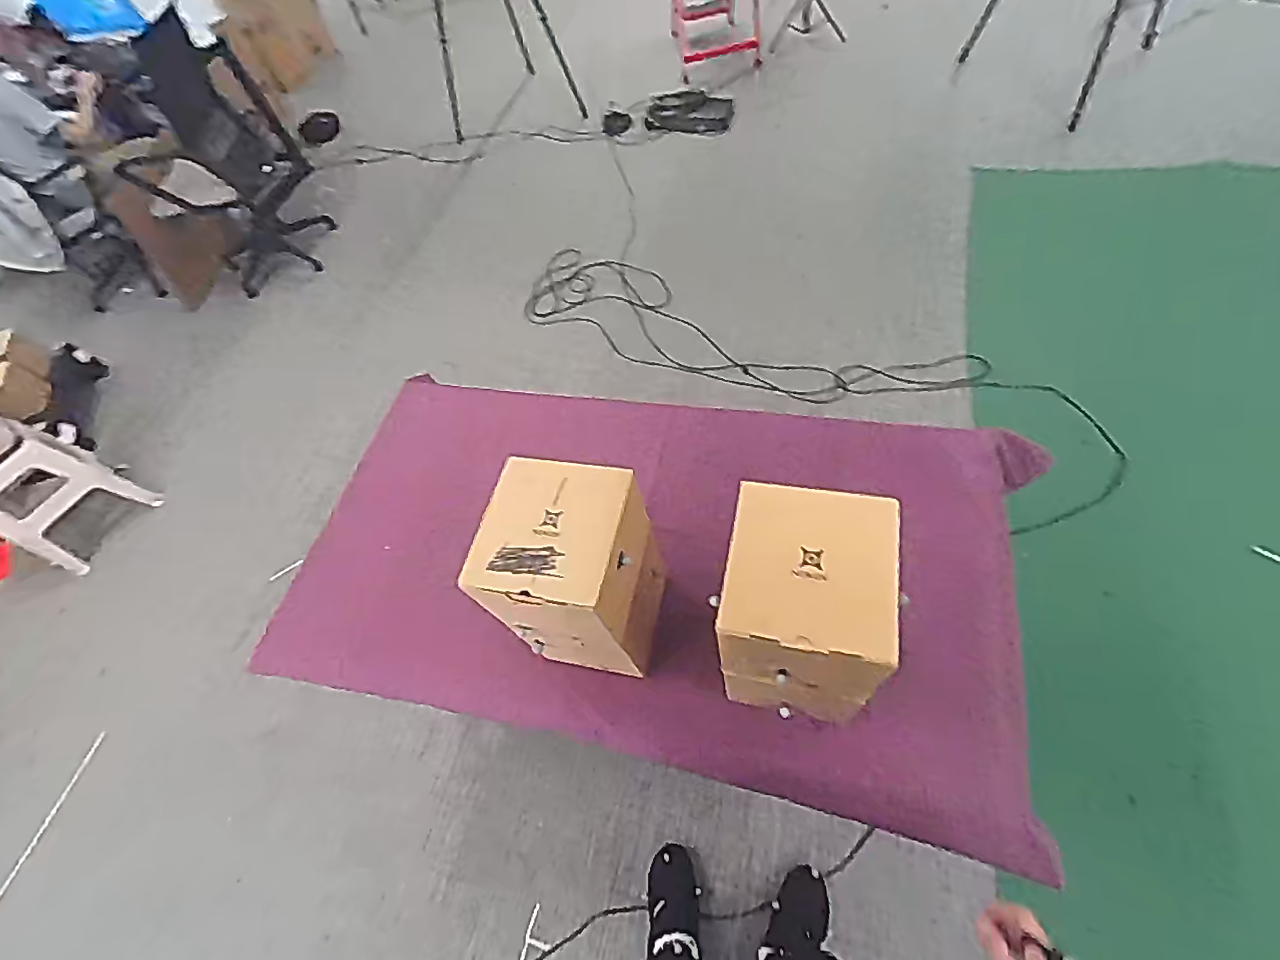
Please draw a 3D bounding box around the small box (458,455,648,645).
[{"bbox_3d":[-0.093,0.093,0.685,0.168,0.176,0.179,8,59,15],"label":"small box"}]

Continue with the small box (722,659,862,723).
[{"bbox_3d":[0.210,0.216,0.747,0.168,0.176,0.179,7,60,16],"label":"small box"}]

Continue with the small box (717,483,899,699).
[{"bbox_3d":[0.184,0.128,0.612,0.168,0.176,0.179,8,60,15],"label":"small box"}]
